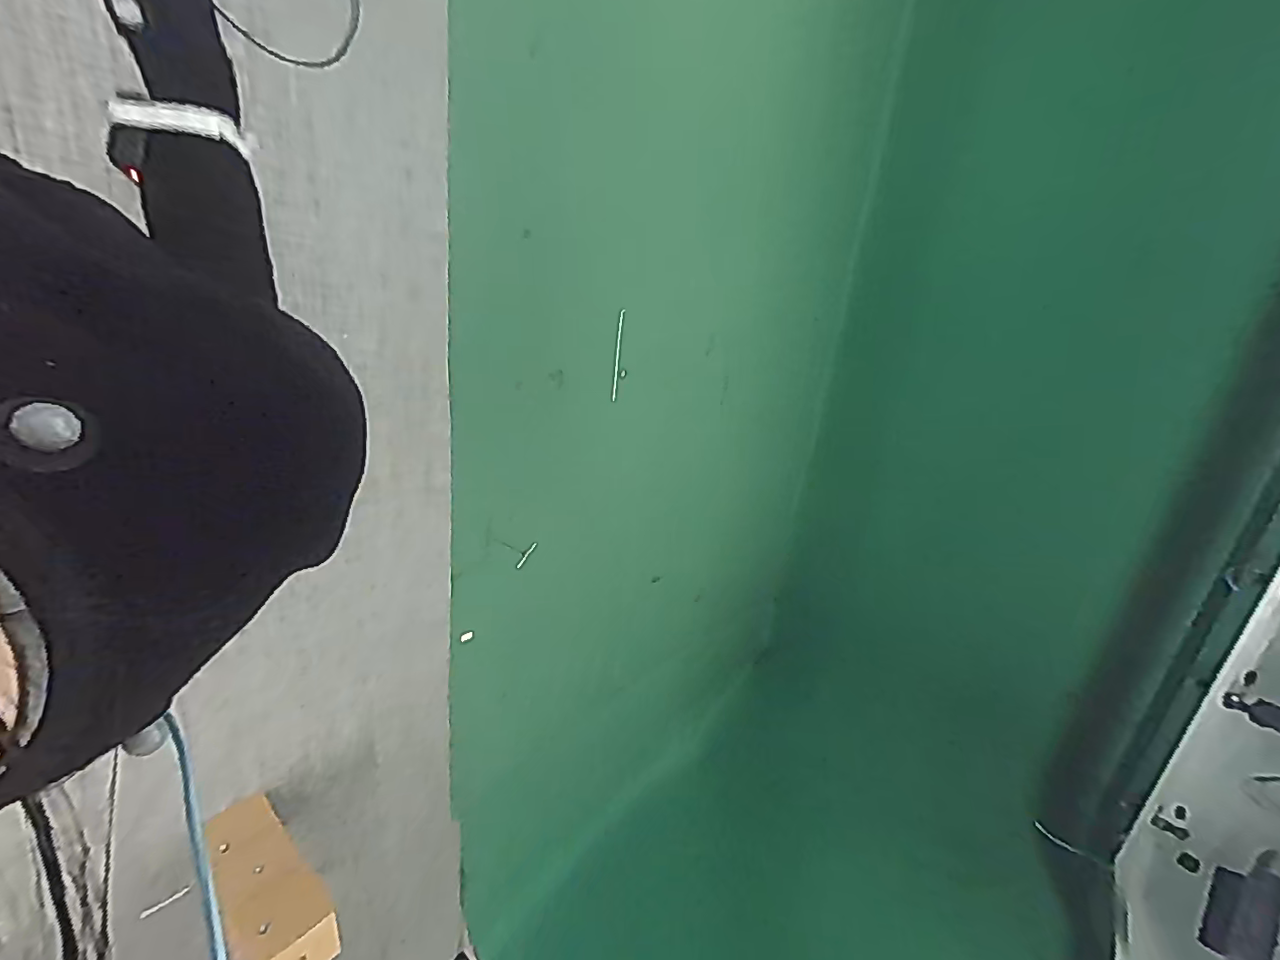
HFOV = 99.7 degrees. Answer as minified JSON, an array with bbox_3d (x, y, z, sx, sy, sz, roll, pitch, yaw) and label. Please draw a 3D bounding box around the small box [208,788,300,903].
[{"bbox_3d":[-1.115,1.043,1.557,0.179,0.176,0.168,-18,121,-48],"label":"small box"}]
